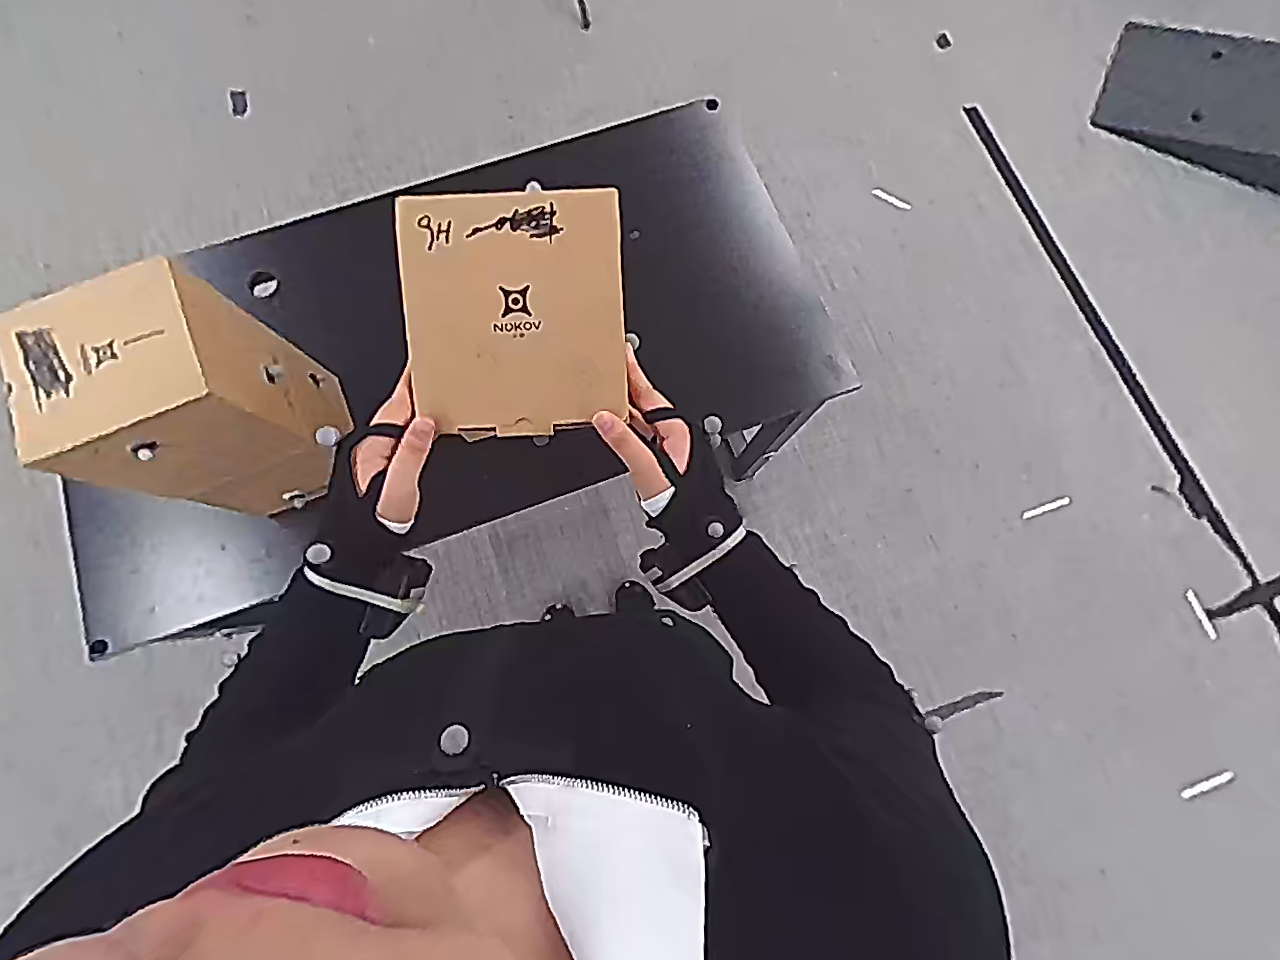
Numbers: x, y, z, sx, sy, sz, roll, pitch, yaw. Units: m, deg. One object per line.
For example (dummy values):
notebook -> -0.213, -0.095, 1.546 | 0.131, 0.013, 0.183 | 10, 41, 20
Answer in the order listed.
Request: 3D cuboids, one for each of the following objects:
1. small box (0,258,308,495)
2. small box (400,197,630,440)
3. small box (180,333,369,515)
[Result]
small box -> -0.514, -0.099, 0.592 | 0.179, 0.176, 0.168 | -24, 79, -6
small box -> -0.094, -0.133, 0.490 | 0.168, 0.176, 0.179 | -3, 98, -2
small box -> -0.515, -0.068, 0.754 | 0.168, 0.176, 0.179 | -24, 80, -5
